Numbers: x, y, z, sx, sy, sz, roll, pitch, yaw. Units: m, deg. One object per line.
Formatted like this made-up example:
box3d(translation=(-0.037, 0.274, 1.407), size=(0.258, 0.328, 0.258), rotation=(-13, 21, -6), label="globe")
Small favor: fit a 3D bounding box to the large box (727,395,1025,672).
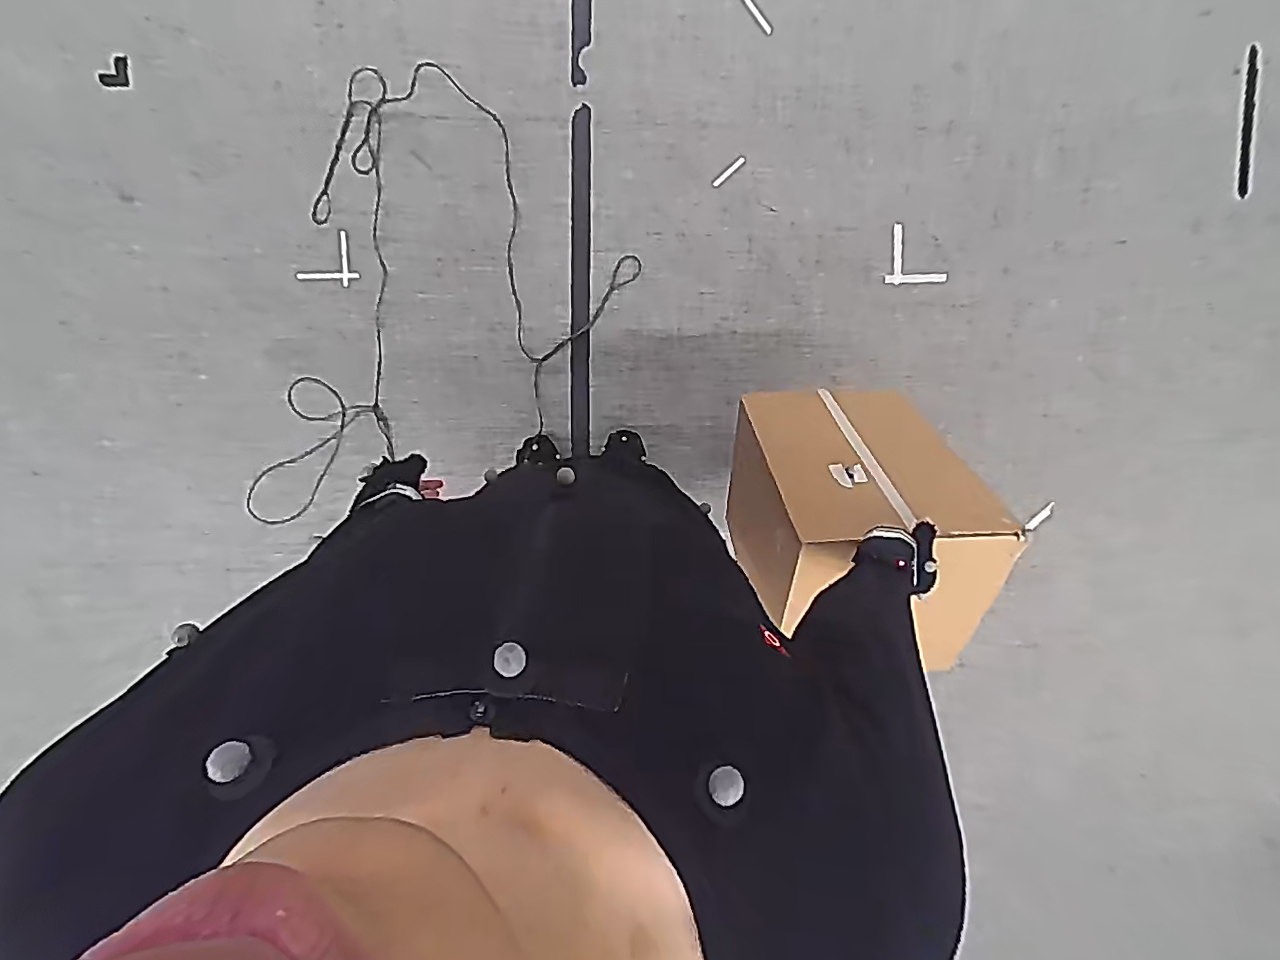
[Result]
box3d(translation=(0.361, 0.080, 0.977), size=(0.320, 0.408, 0.320), rotation=(-3, 129, -3), label="large box")
